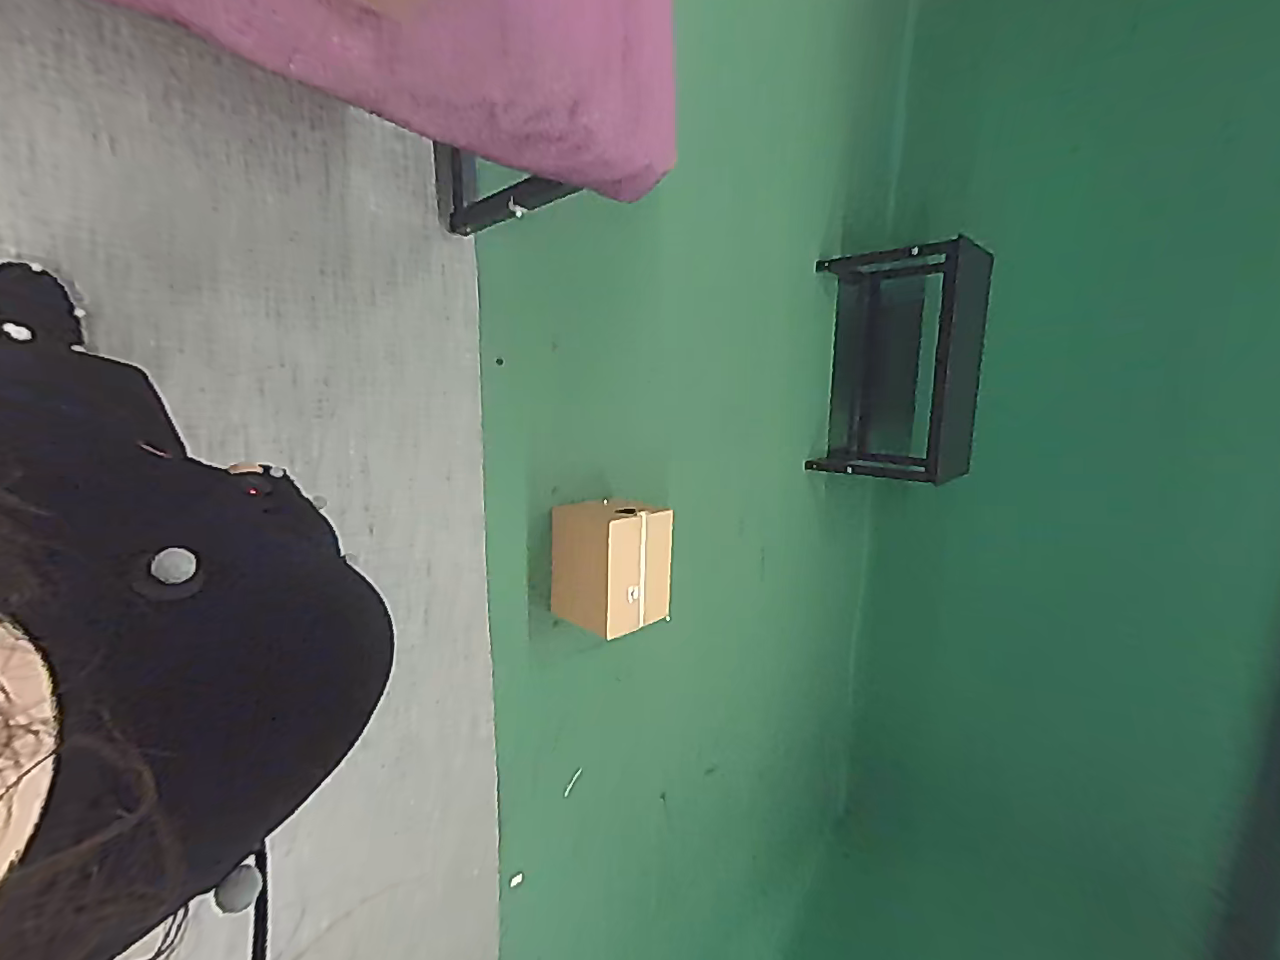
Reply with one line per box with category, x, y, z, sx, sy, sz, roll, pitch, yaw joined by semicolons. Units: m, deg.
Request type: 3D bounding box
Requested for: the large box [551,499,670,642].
large box;-0.109;0.303;1.938;0.320;0.320;0.408;-7;102;-45
